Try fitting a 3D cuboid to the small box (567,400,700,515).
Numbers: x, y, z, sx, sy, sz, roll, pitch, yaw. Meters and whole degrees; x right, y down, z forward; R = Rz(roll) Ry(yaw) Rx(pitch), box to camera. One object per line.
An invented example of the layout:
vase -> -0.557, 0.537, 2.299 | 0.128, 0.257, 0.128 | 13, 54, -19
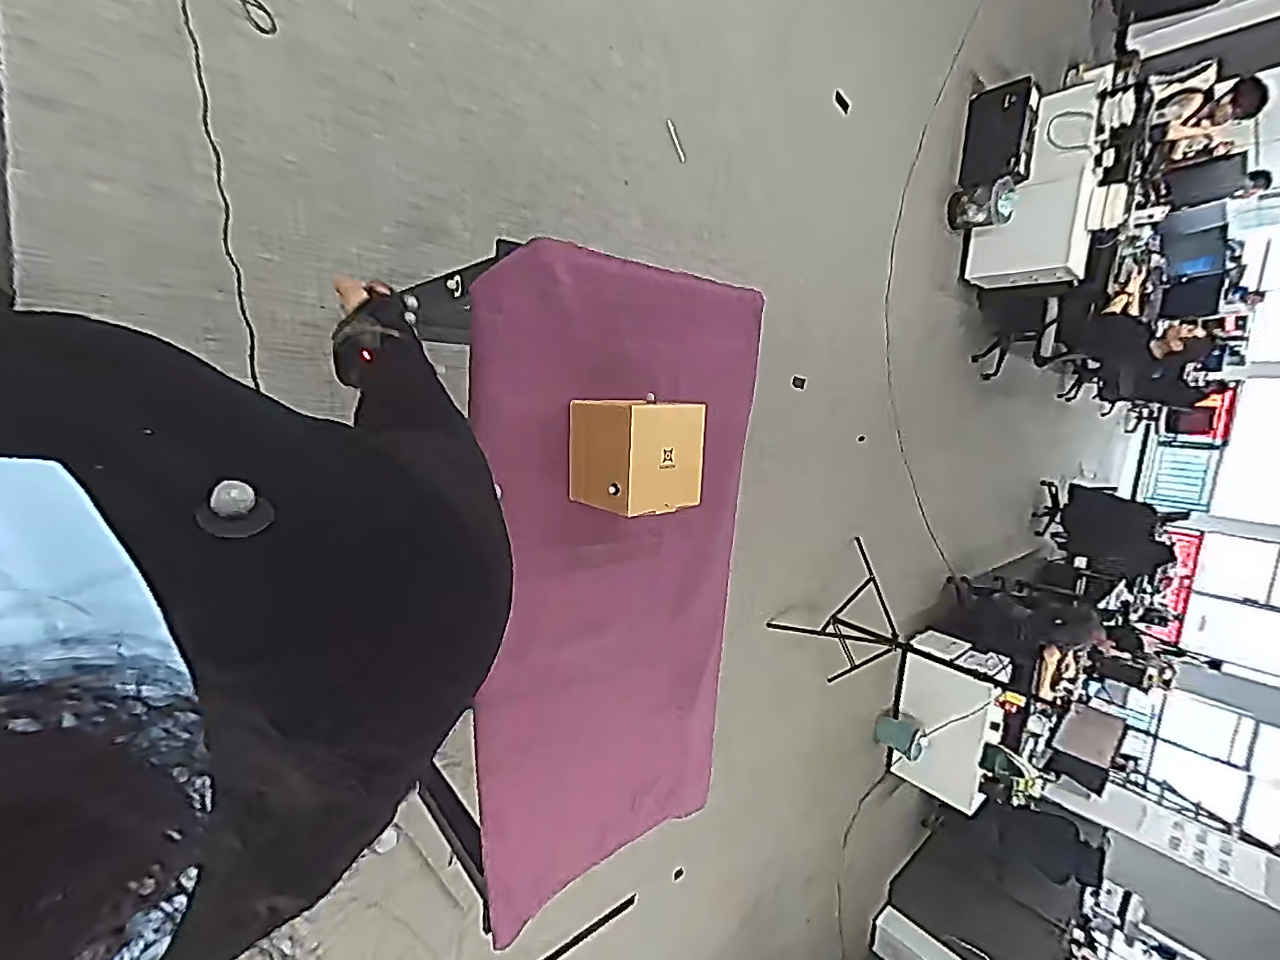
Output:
small box -> -0.015, -0.049, 0.937 | 0.168, 0.176, 0.179 | -7, 104, -41
